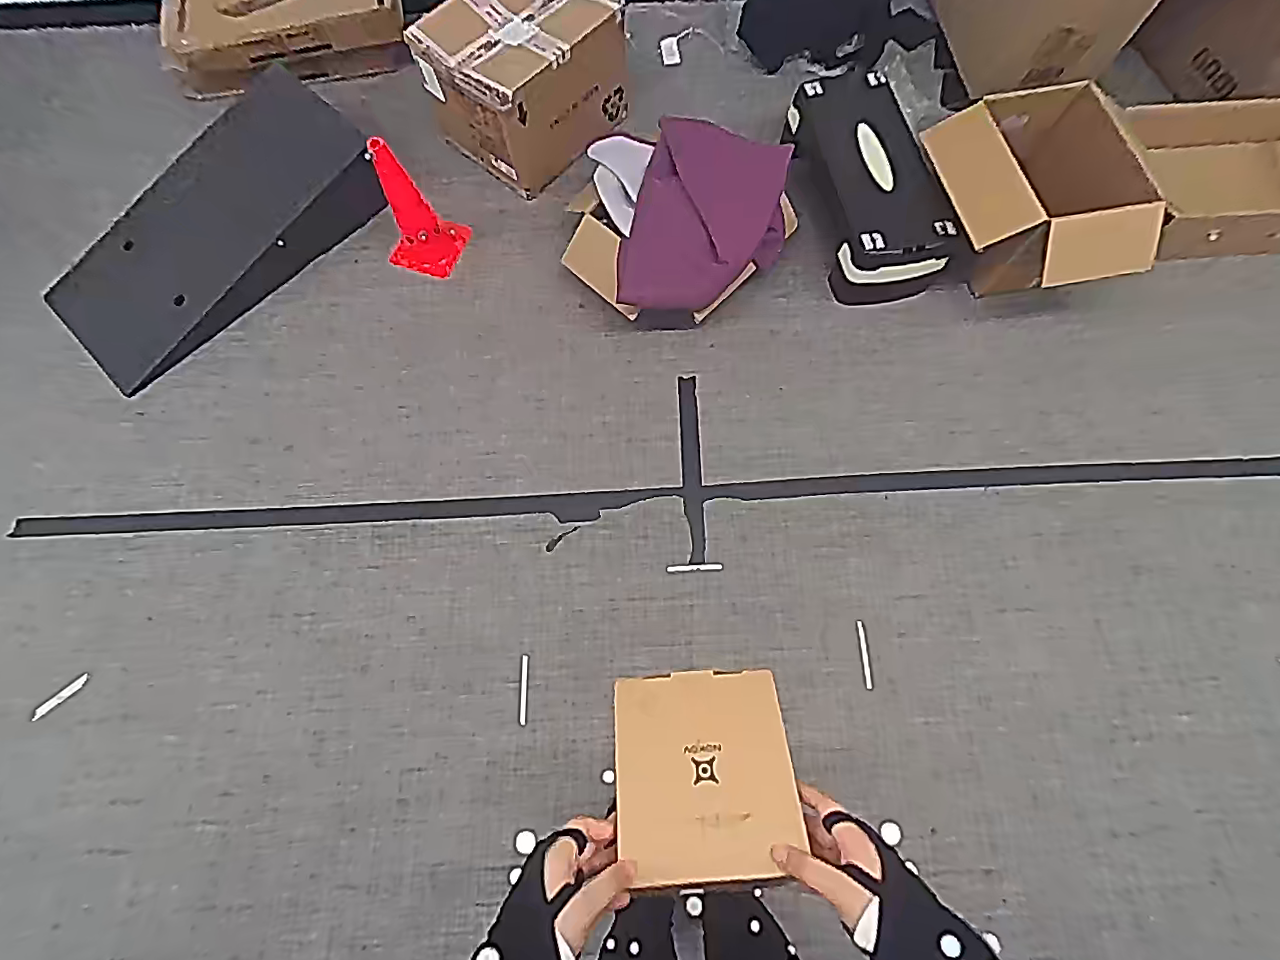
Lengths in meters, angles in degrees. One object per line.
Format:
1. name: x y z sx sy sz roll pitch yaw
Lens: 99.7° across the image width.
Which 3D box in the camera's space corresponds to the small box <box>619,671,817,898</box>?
1. small box: 0.062 0.317 0.562 0.168 0.176 0.179 -3 51 -2
